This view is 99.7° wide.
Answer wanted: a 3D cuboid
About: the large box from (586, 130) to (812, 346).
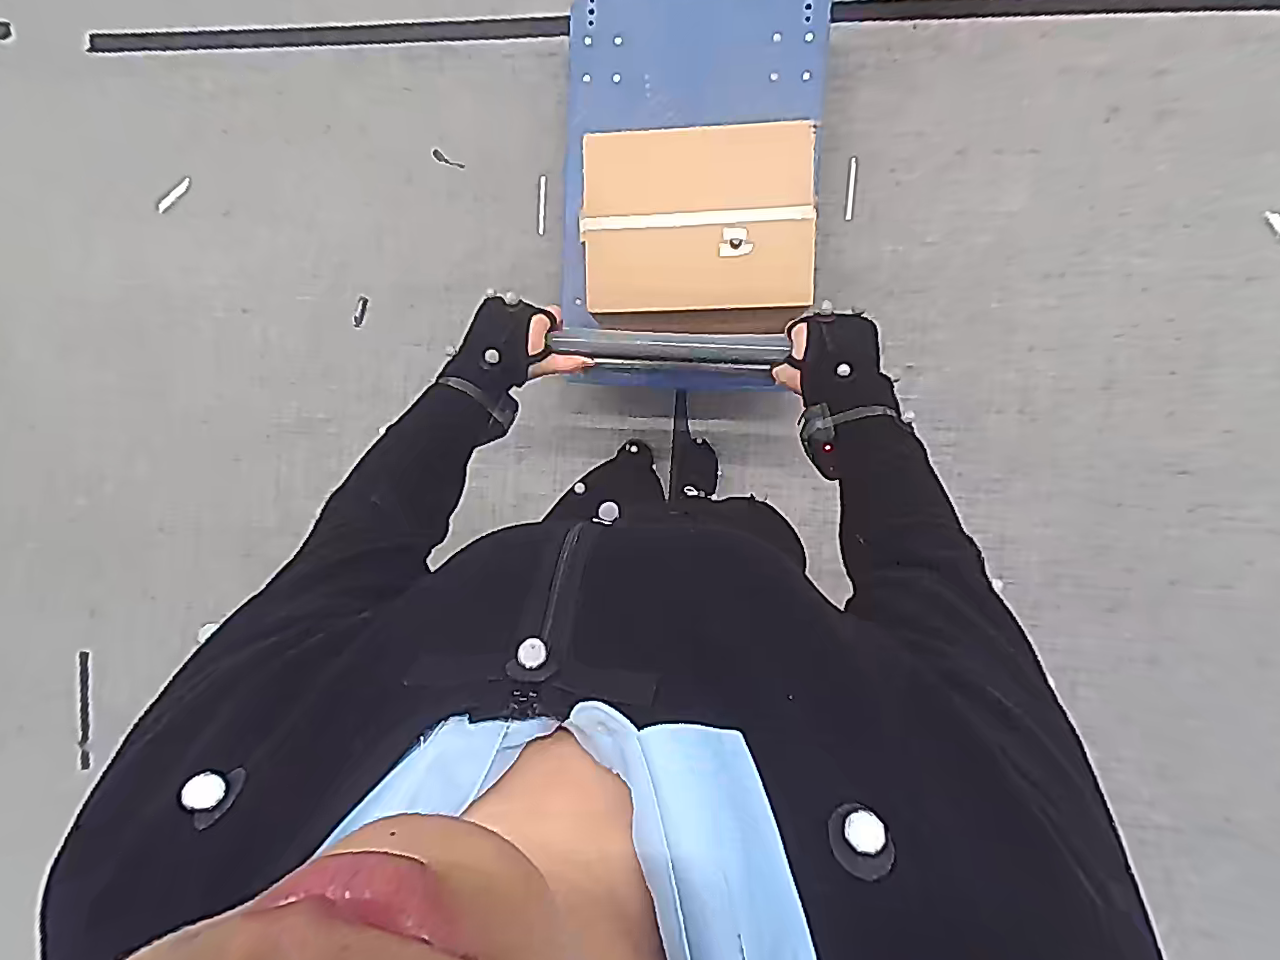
[{"bbox_3d":[0.113,-0.463,1.112,0.408,0.320,0.320,-1,95,4],"label":"large box"}]
